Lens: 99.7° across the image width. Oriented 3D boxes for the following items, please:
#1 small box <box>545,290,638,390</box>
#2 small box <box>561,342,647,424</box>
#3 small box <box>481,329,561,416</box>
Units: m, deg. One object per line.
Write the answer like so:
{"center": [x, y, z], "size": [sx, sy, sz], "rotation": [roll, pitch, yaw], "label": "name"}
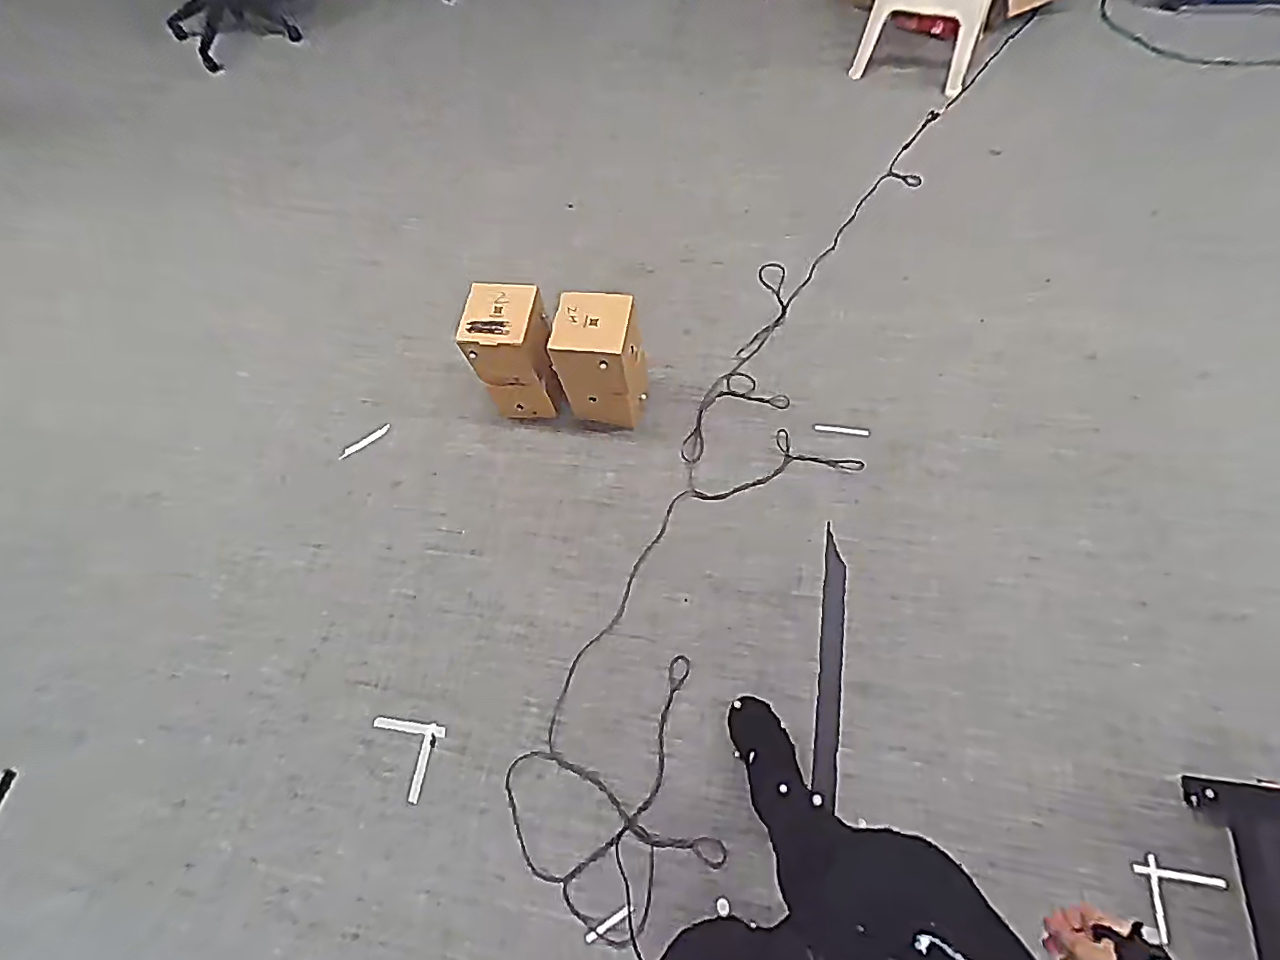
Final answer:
{"center": [-0.107, -0.331, 1.301], "size": [0.179, 0.176, 0.168], "rotation": [6, 67, 10], "label": "small box"}
{"center": [-0.089, -0.267, 1.452], "size": [0.179, 0.176, 0.168], "rotation": [12, 69, 11], "label": "small box"}
{"center": [-0.318, -0.294, 1.491], "size": [0.168, 0.176, 0.179], "rotation": [1, 67, 6], "label": "small box"}
